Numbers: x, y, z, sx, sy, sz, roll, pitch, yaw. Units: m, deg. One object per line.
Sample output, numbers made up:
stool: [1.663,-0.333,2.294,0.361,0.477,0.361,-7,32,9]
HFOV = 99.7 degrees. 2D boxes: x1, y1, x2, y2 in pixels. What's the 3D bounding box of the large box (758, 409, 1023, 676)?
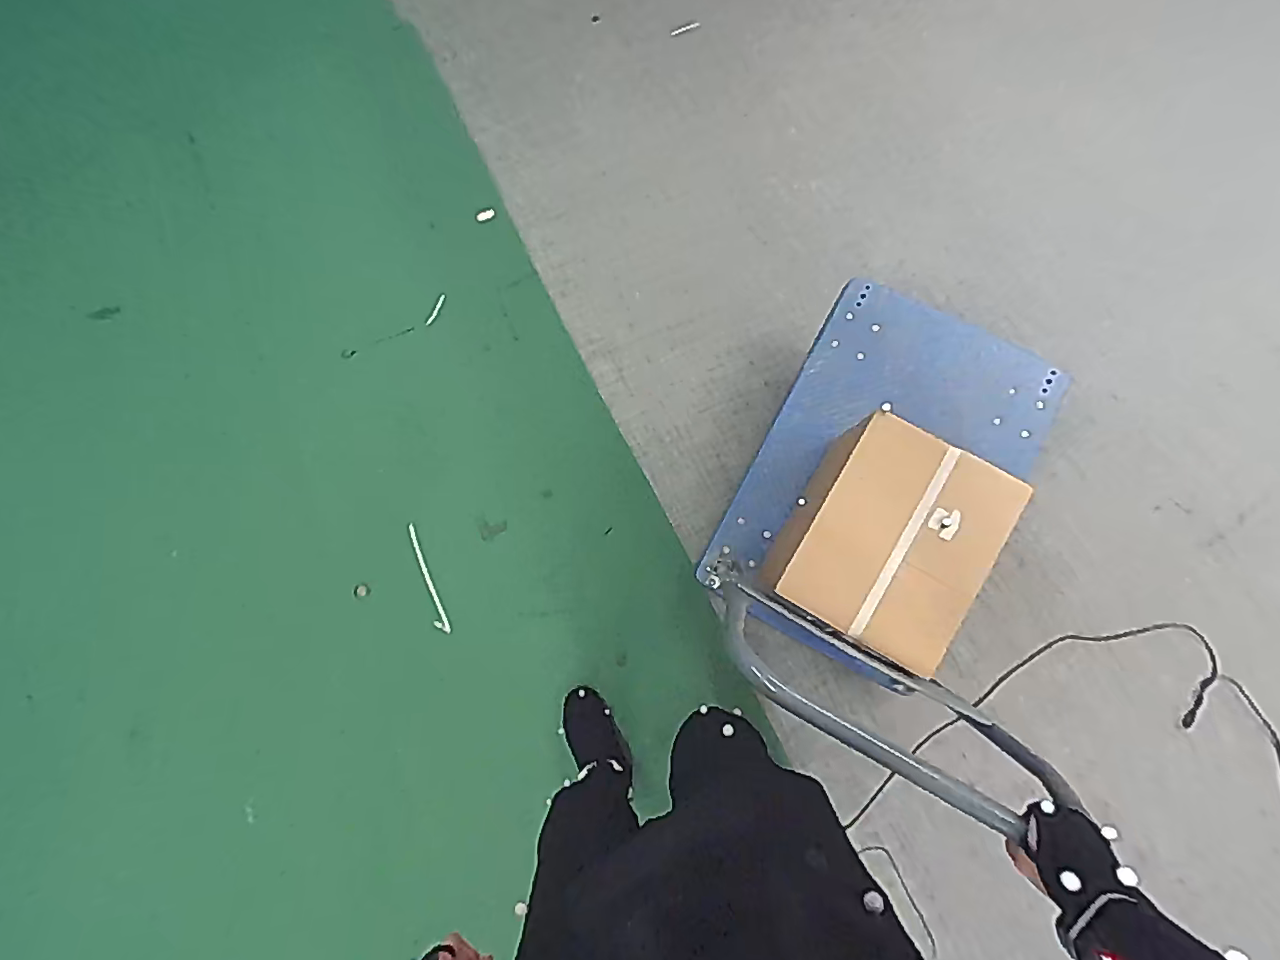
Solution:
large box: [0.489,0.128,1.141,0.320,0.320,0.408,30,86,7]
